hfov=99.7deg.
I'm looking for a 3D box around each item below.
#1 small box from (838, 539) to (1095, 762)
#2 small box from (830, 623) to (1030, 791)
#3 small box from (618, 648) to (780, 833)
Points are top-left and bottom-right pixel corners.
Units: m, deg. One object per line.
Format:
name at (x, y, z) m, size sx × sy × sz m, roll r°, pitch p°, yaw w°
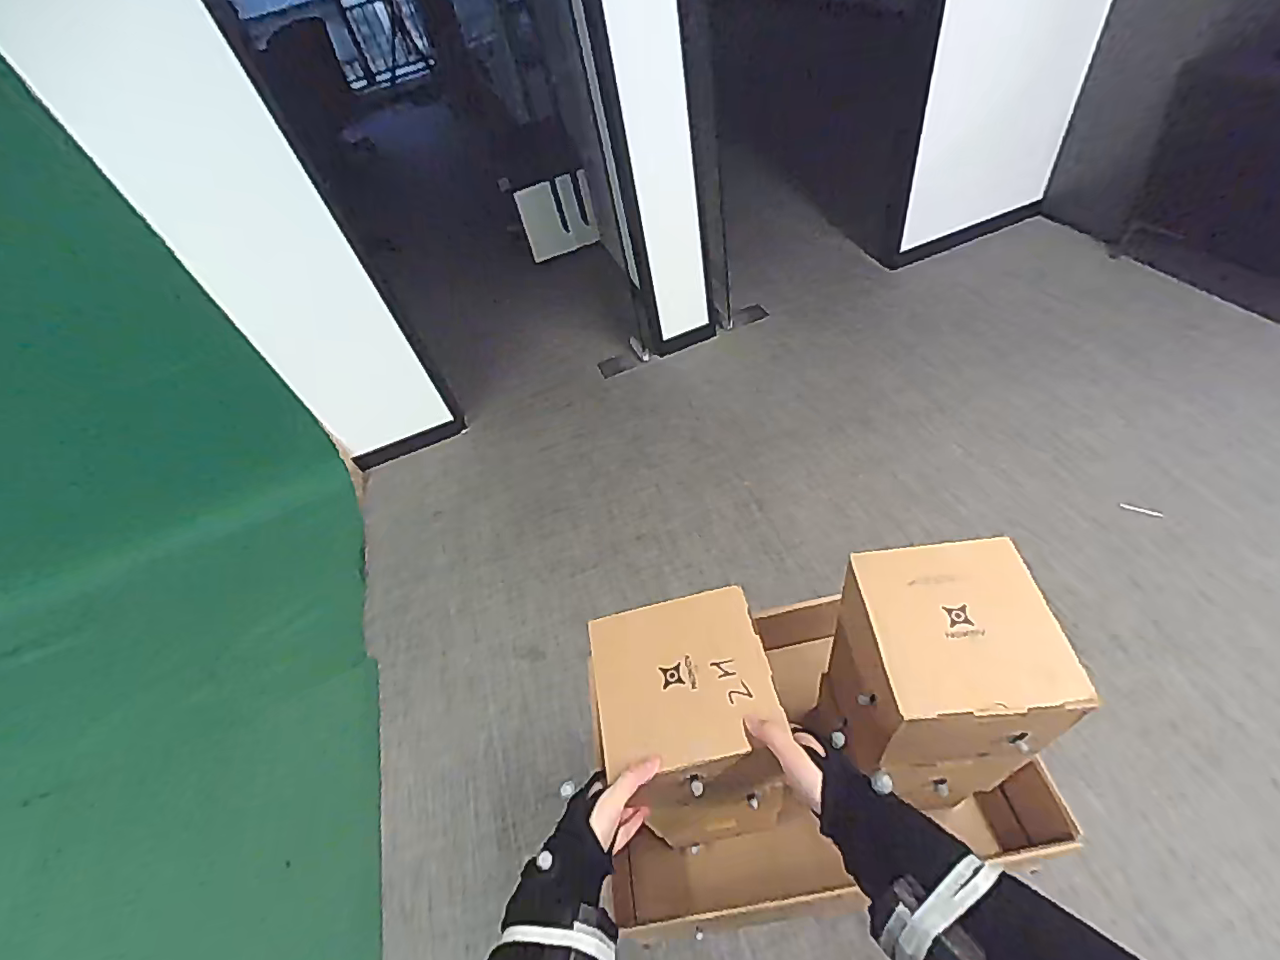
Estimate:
small box at (0.320, 0.188, 0.578) m, size 0.168 × 0.176 × 0.179 m, roll -8°, pitch 48°, yaw 8°
small box at (0.353, 0.292, 0.700) m, size 0.168 × 0.176 × 0.179 m, roll -8°, pitch 49°, yaw 7°
small box at (0.080, 0.353, 0.726) m, size 0.179 × 0.176 × 0.168 m, roll -14°, pitch 48°, yaw 1°
